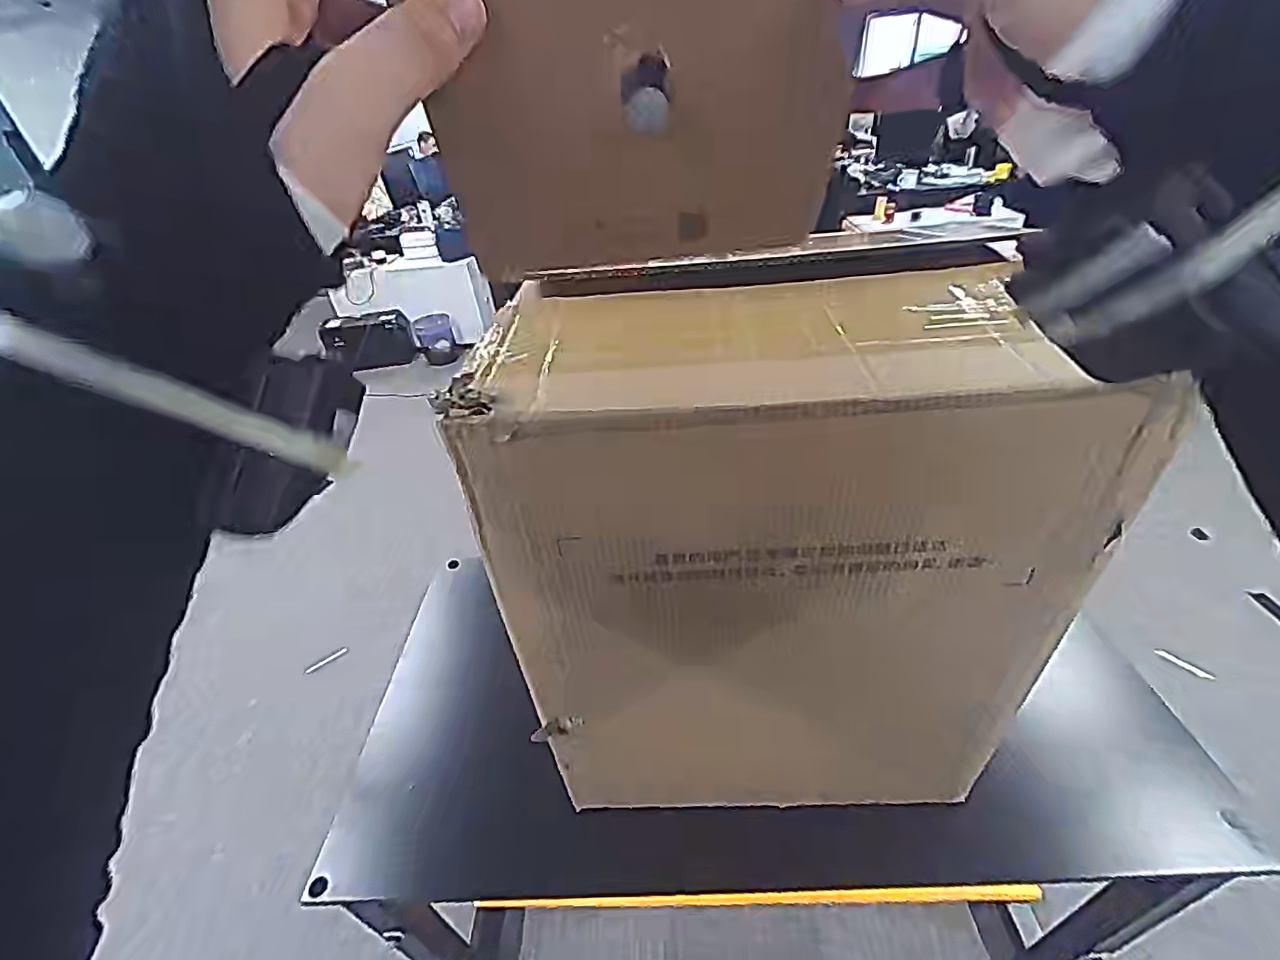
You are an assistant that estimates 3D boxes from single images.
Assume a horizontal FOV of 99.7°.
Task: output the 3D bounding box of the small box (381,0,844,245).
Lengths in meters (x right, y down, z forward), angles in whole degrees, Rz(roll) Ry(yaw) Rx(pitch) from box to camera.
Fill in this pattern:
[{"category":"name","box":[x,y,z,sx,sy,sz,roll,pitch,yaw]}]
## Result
[{"category":"small box","box":[-0.012,-0.226,0.238,0.168,0.176,0.179,-7,62,-1]}]
